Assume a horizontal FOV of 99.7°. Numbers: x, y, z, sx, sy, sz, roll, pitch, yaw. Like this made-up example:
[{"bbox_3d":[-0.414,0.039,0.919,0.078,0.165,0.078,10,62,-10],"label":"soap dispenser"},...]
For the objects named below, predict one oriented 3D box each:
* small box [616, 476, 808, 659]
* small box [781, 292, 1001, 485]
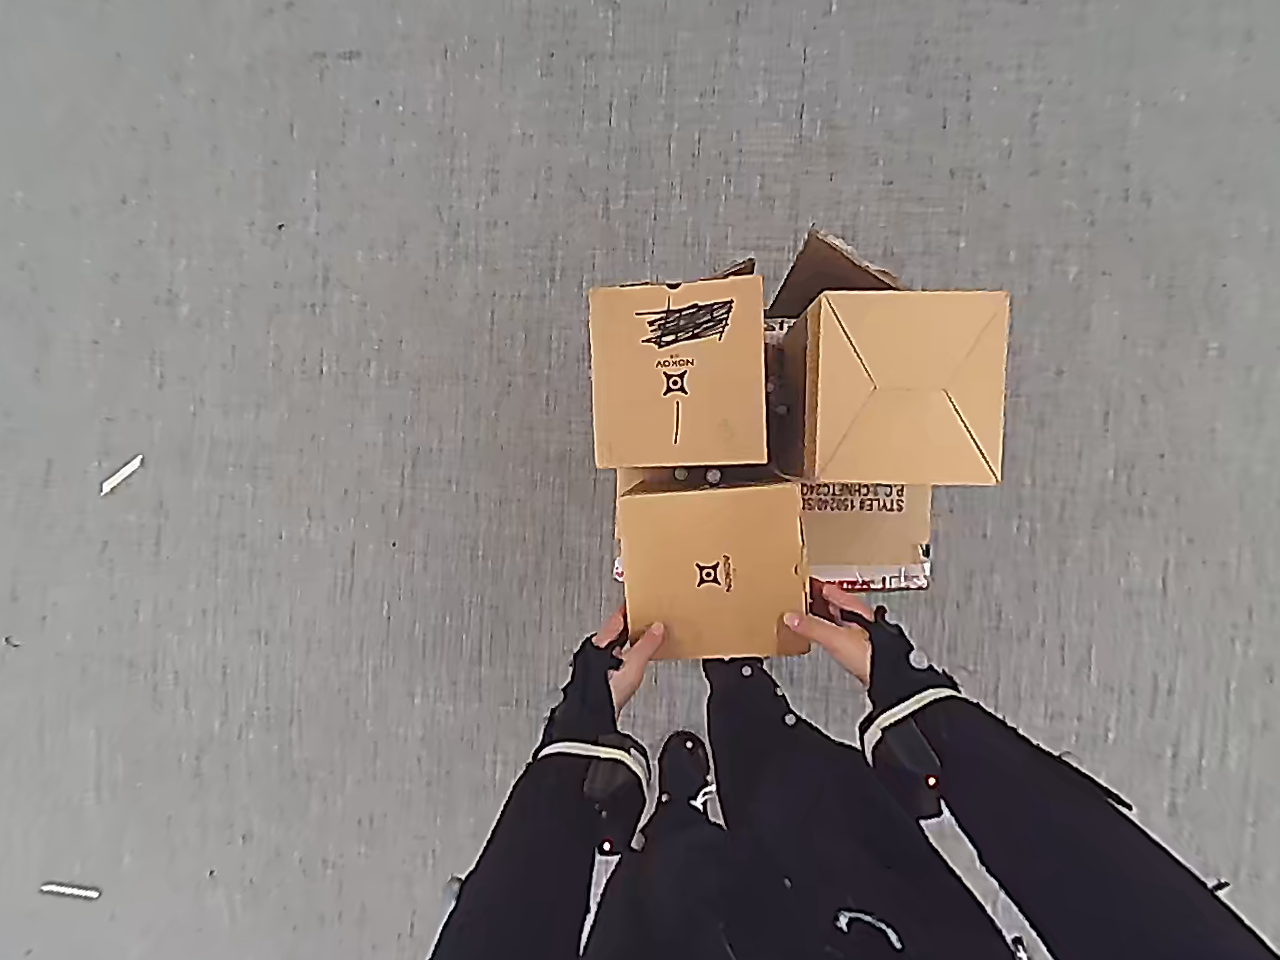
[{"bbox_3d":[0.076,0.086,0.598,0.179,0.176,0.168,-4,94,5],"label":"small box"},{"bbox_3d":[0.248,-0.084,0.570,0.168,0.176,0.179,1,93,2],"label":"small box"}]
